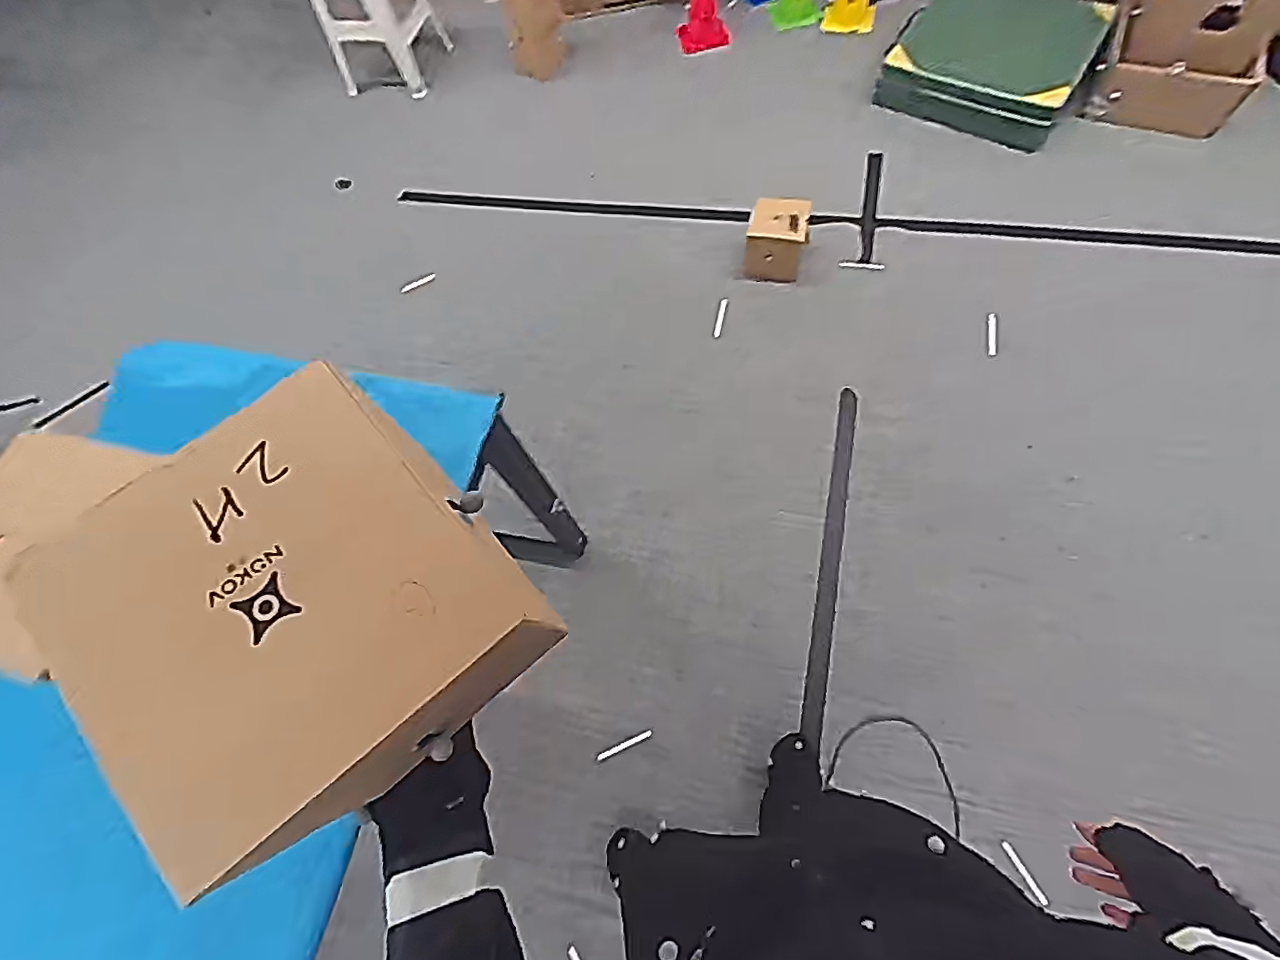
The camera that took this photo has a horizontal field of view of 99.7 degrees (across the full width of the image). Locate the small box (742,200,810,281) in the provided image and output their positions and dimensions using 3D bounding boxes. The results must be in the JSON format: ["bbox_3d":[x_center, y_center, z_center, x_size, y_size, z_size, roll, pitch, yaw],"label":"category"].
[{"bbox_3d":[0.431,-0.762,1.733,0.179,0.176,0.168,11,69,12],"label":"small box"}]

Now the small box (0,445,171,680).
[{"bbox_3d":[-0.465,0.079,0.503,0.168,0.176,0.179,10,71,13],"label":"small box"}]

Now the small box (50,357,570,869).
[{"bbox_3d":[-0.160,0.068,0.325,0.168,0.176,0.179,-38,77,-12],"label":"small box"}]
